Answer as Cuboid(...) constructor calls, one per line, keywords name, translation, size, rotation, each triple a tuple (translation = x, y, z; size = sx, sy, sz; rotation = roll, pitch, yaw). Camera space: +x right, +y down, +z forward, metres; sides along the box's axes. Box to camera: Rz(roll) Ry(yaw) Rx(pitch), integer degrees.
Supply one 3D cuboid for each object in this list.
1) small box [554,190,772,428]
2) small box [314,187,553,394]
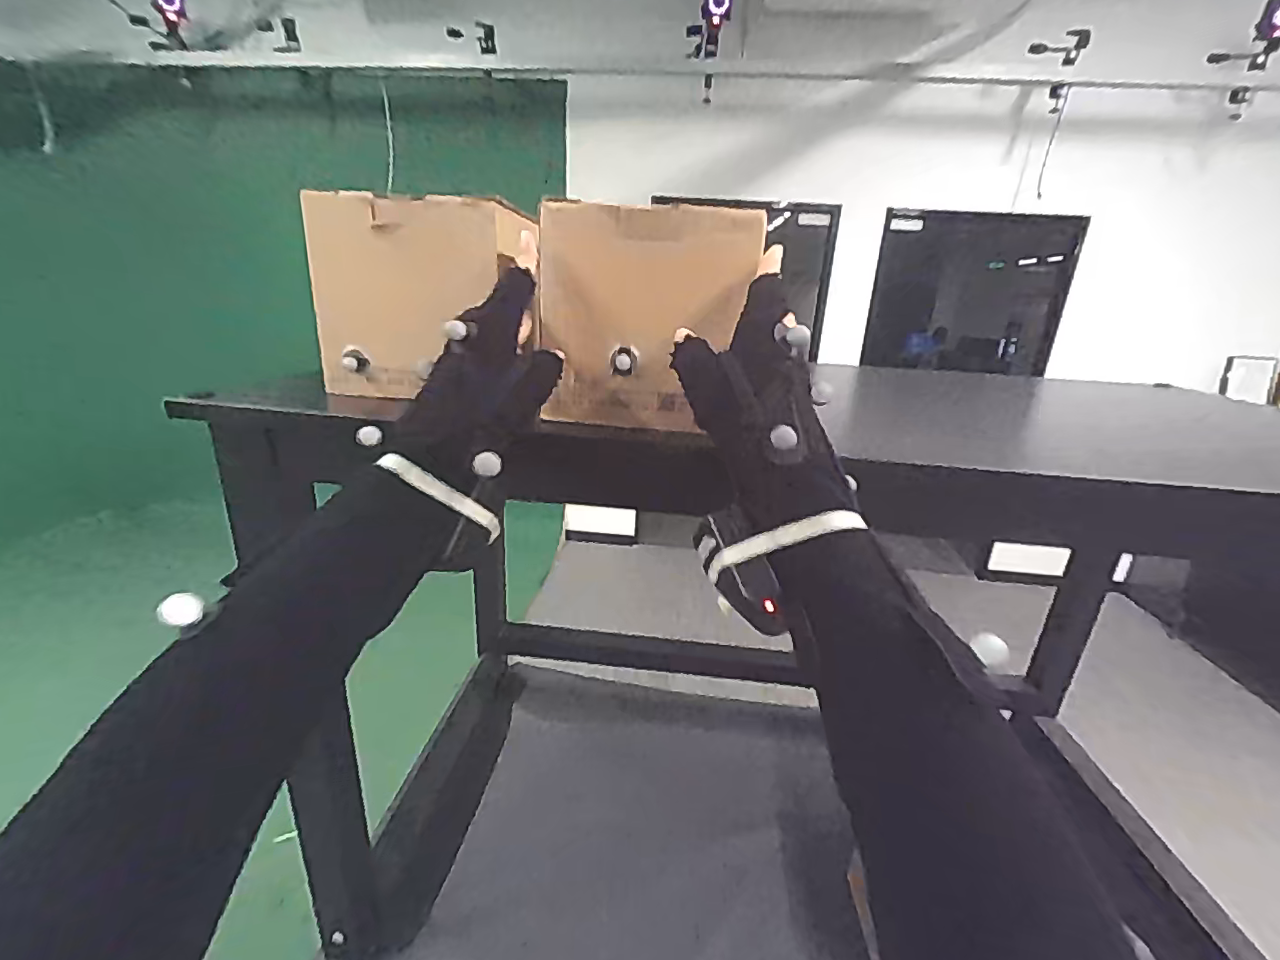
Cuboid(name="small box", translation=(0.019, -0.153, 0.498), size=(0.168, 0.176, 0.179), rotation=(5, 19, 5))
Cuboid(name="small box", translation=(-0.186, -0.184, 0.545), size=(0.168, 0.176, 0.179), rotation=(5, 18, 3))
